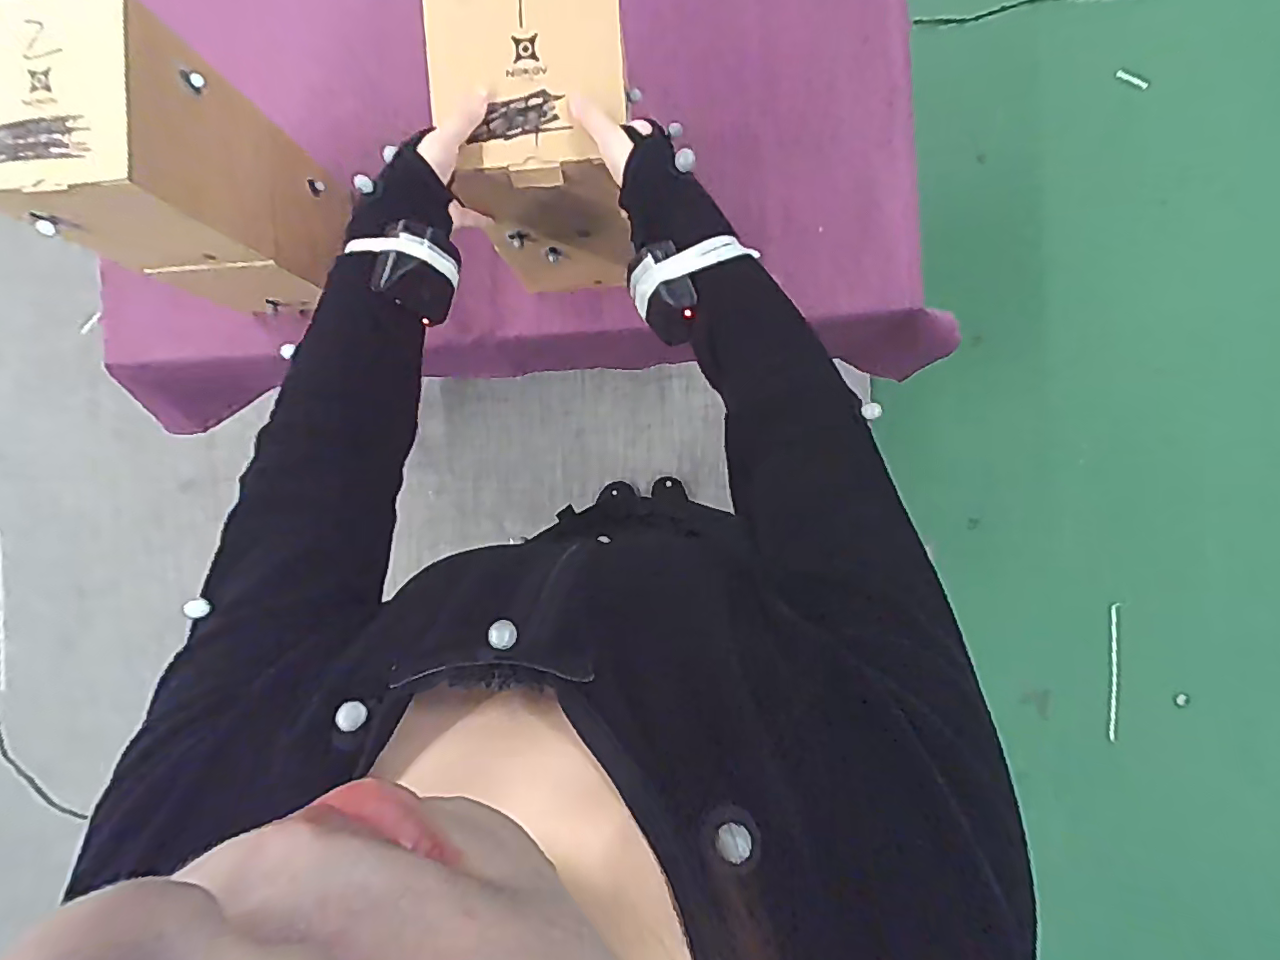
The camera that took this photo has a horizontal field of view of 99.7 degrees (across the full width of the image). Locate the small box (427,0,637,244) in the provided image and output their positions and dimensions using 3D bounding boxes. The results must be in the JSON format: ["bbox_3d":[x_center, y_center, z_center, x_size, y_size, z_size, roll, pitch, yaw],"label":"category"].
[{"bbox_3d":[-0.092,-0.349,0.537,0.168,0.176,0.179,-3,93,2],"label":"small box"}]

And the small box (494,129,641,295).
[{"bbox_3d":[-0.087,-0.357,0.701,0.168,0.176,0.179,-3,92,4],"label":"small box"}]

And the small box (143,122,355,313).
[{"bbox_3d":[-0.506,-0.337,0.723,0.168,0.176,0.179,-2,91,3],"label":"small box"}]
